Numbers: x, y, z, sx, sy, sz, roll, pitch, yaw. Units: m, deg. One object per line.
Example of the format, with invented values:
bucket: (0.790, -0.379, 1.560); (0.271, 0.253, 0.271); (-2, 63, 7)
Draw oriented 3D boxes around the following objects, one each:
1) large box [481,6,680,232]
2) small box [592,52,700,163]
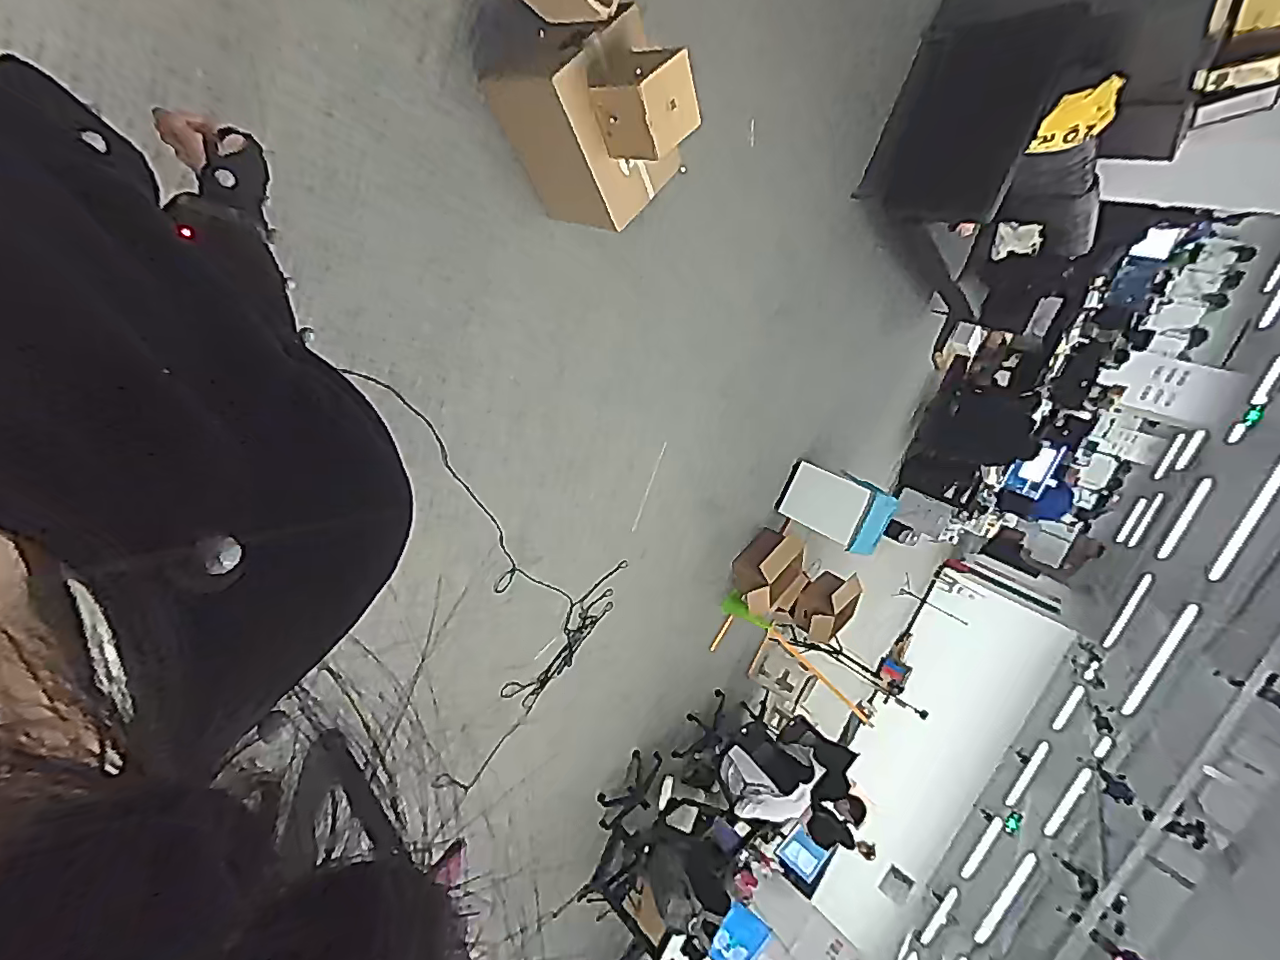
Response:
large box: (-0.146, -0.966, 1.476); (0.320, 0.320, 0.408); (-50, 145, -13)
small box: (0.016, -0.897, 1.303); (0.179, 0.176, 0.168); (-49, 143, -17)
